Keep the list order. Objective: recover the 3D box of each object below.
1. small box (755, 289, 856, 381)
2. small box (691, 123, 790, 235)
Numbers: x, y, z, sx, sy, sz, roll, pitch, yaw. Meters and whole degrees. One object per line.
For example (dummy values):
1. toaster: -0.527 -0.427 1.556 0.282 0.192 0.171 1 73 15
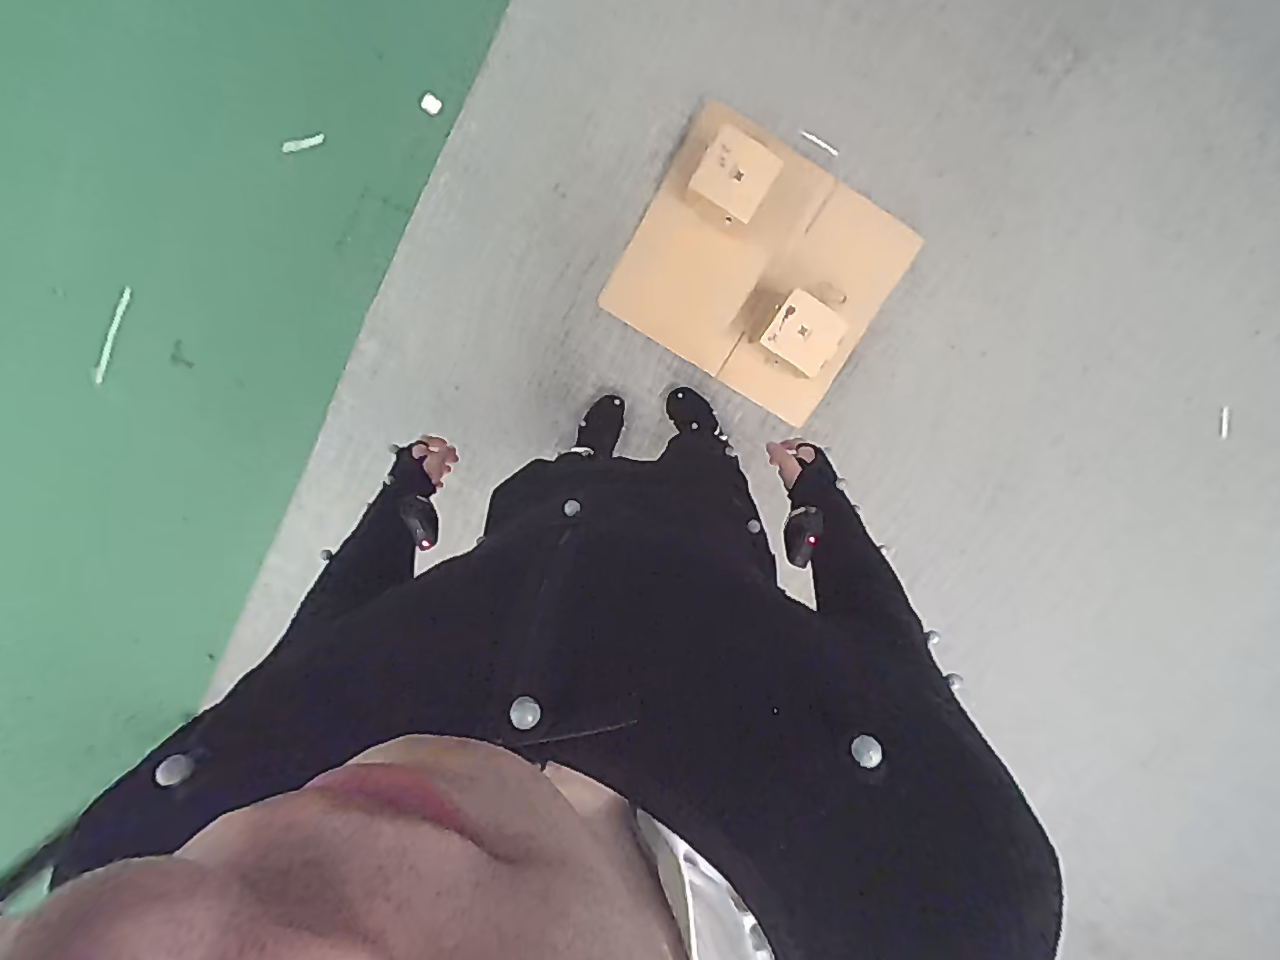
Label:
1. small box: 0.432 -0.384 1.444 0.179 0.176 0.168 34 101 -5
2. small box: 0.246 -0.745 1.367 0.179 0.176 0.168 32 101 -5
